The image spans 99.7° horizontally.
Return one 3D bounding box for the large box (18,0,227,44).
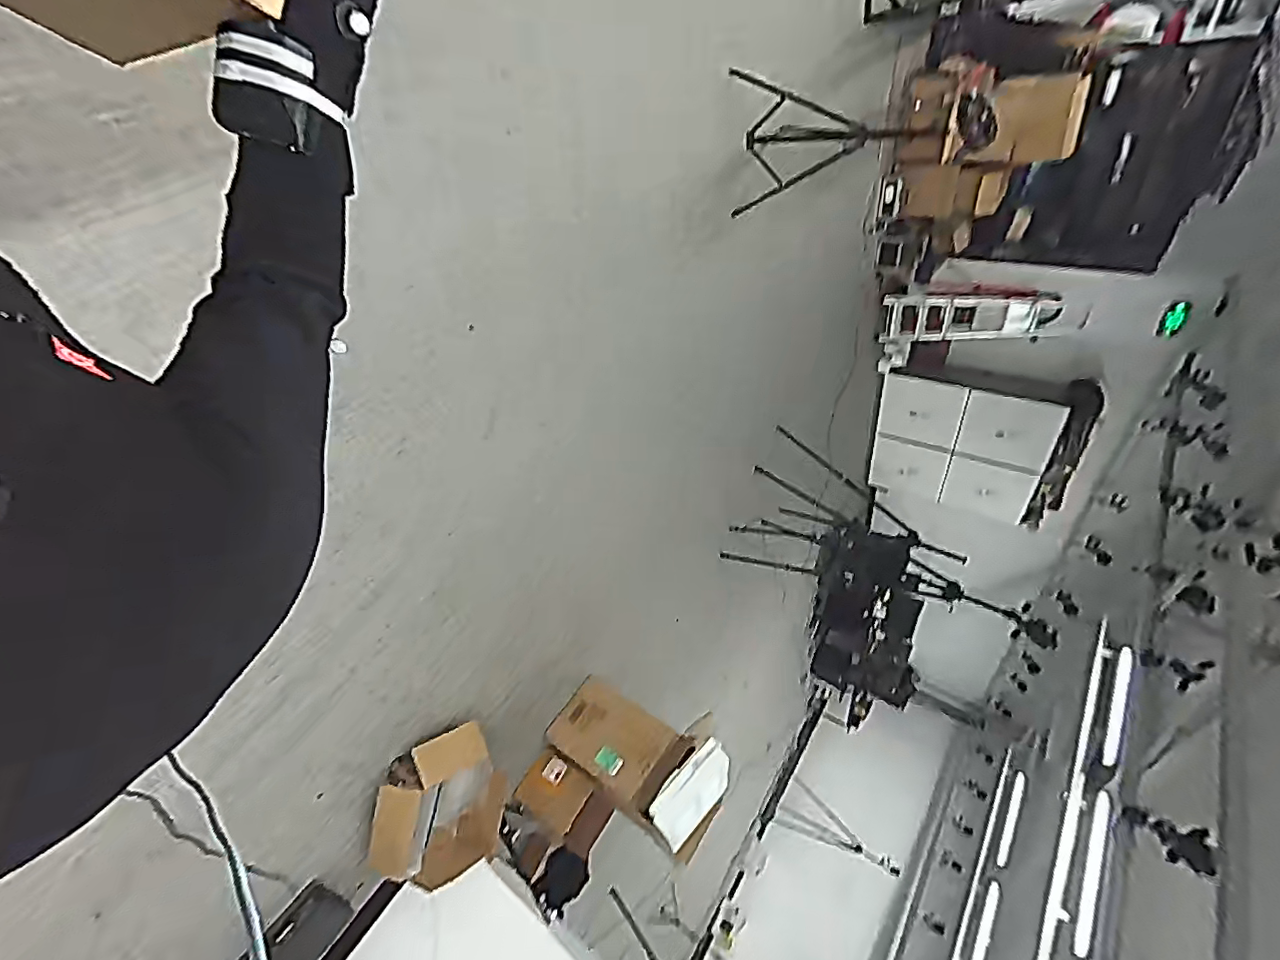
[{"bbox_3d":[-0.430,-0.501,0.234,0.408,0.320,0.320,2,106,-59],"label":"large box"}]
